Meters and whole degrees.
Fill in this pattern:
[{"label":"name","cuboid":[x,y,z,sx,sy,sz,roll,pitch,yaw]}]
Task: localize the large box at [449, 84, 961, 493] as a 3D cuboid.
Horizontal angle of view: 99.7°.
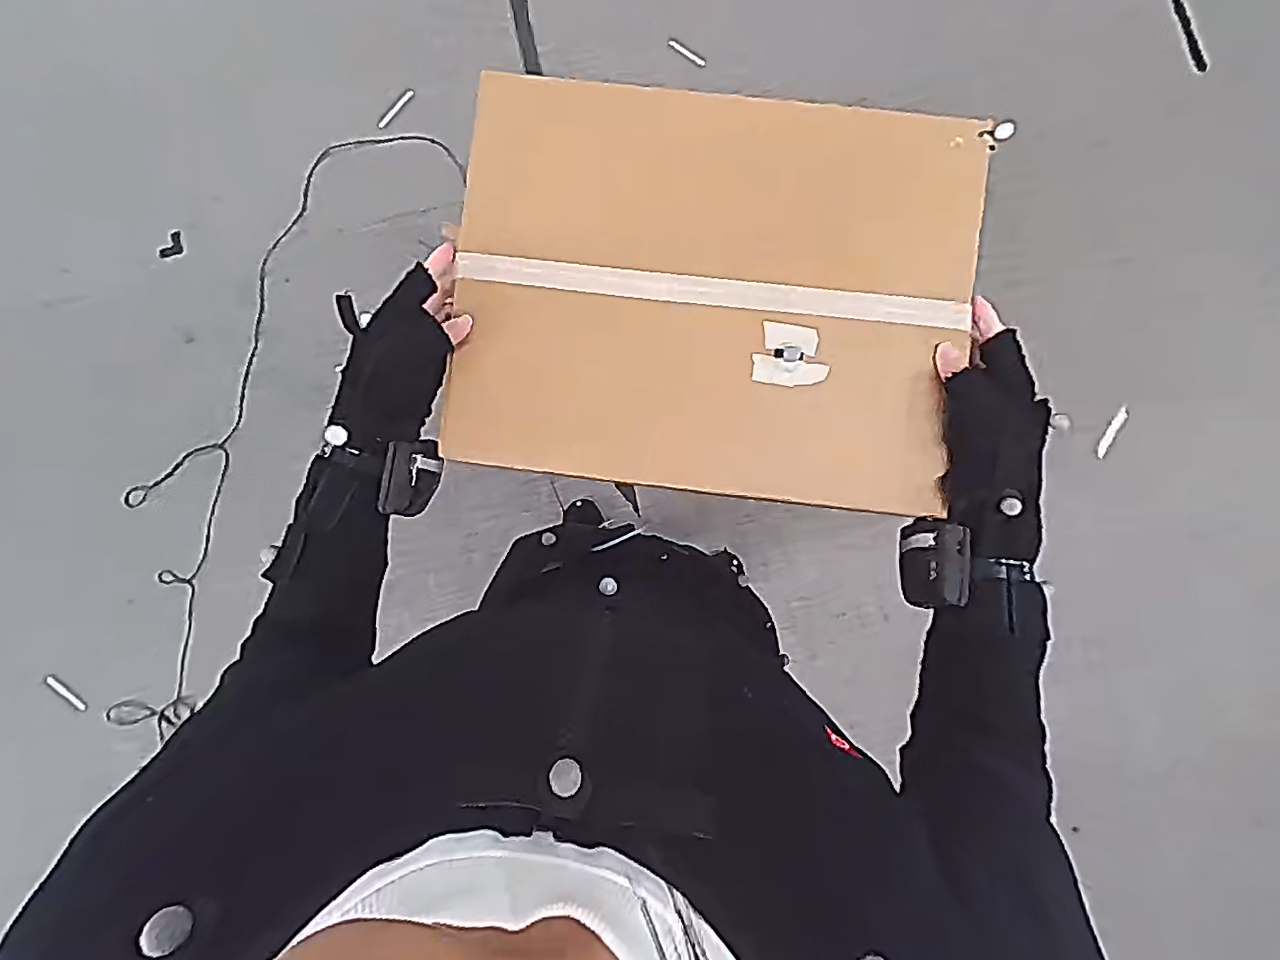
[{"label":"large box","cuboid":[0.051,-0.157,0.589,0.408,0.320,0.320,6,91,1]}]
